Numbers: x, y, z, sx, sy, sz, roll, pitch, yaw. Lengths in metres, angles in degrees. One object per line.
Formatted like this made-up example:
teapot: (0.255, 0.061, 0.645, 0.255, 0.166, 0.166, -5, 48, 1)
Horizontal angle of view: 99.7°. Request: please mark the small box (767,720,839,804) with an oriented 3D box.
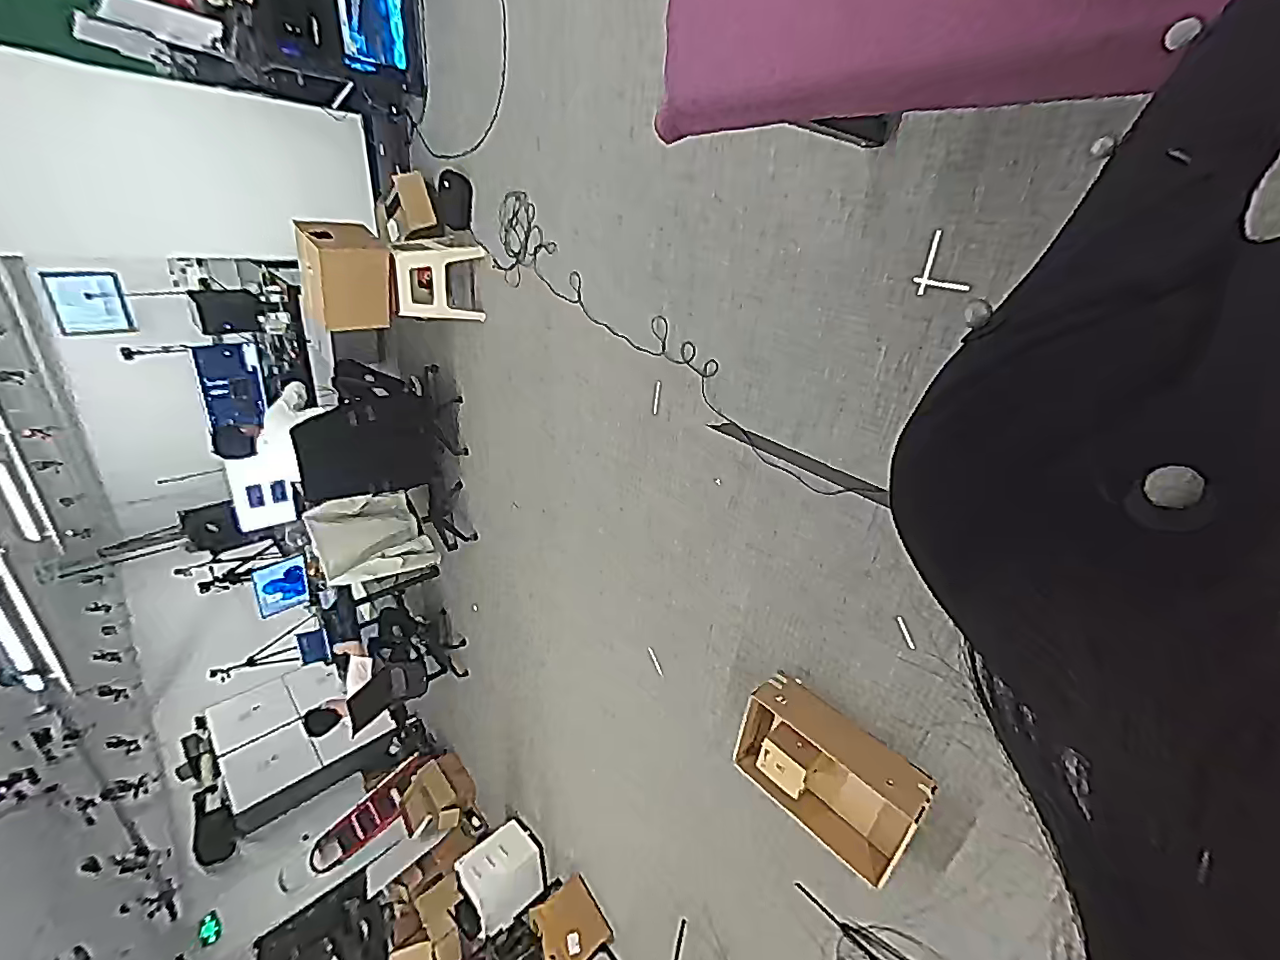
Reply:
small box: (0.593, 1.013, 1.962, 0.179, 0.176, 0.168, 29, 124, 36)
